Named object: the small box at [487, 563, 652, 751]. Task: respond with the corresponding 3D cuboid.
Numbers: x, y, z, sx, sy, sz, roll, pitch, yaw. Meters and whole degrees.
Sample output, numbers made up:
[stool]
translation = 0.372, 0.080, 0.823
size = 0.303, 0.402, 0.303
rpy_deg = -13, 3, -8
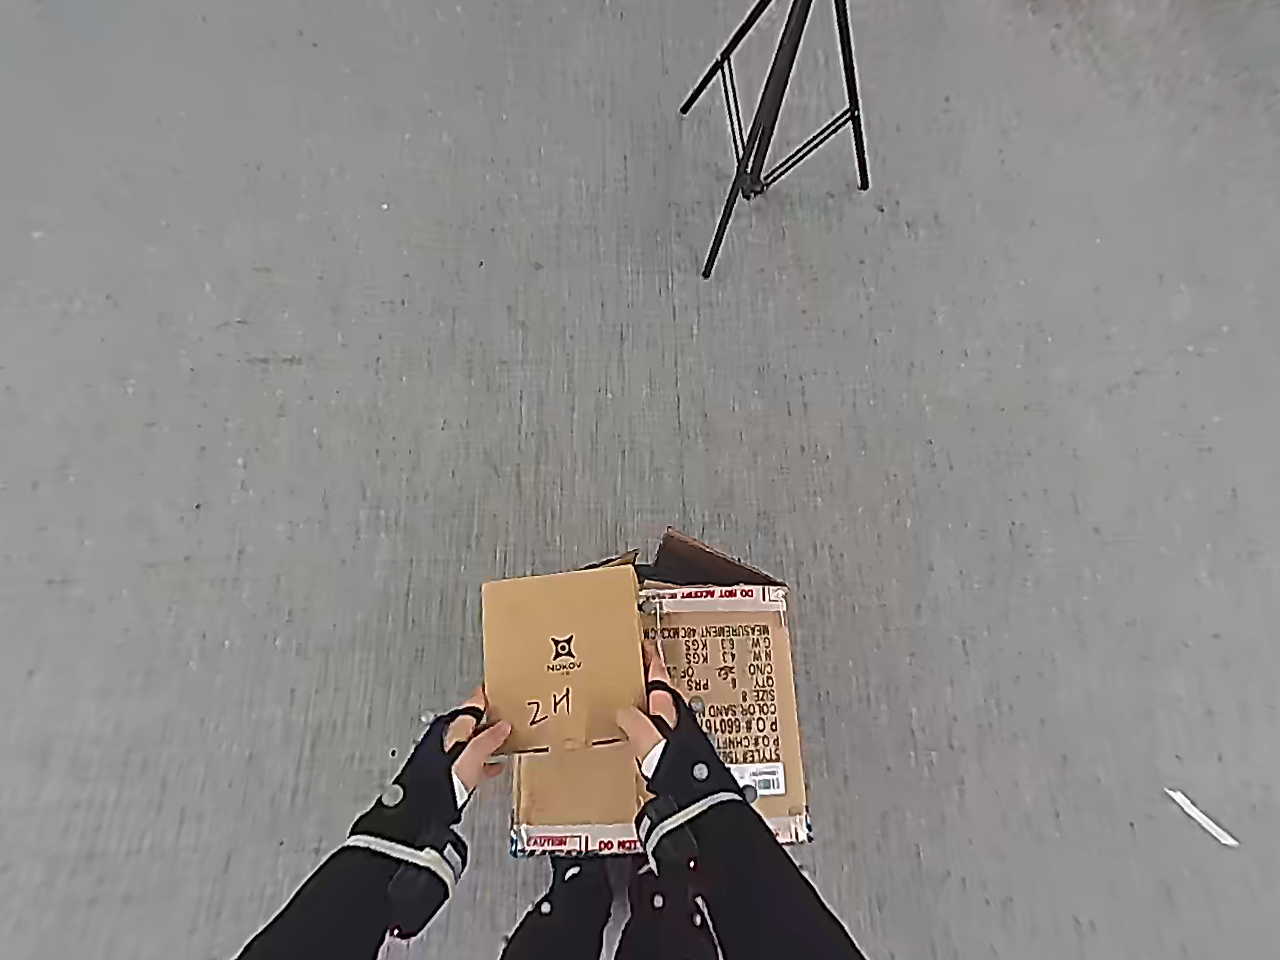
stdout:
[small box]
translation = -0.077, 0.203, 0.642
size = 0.168, 0.176, 0.179
rpy_deg = -7, 75, 0
